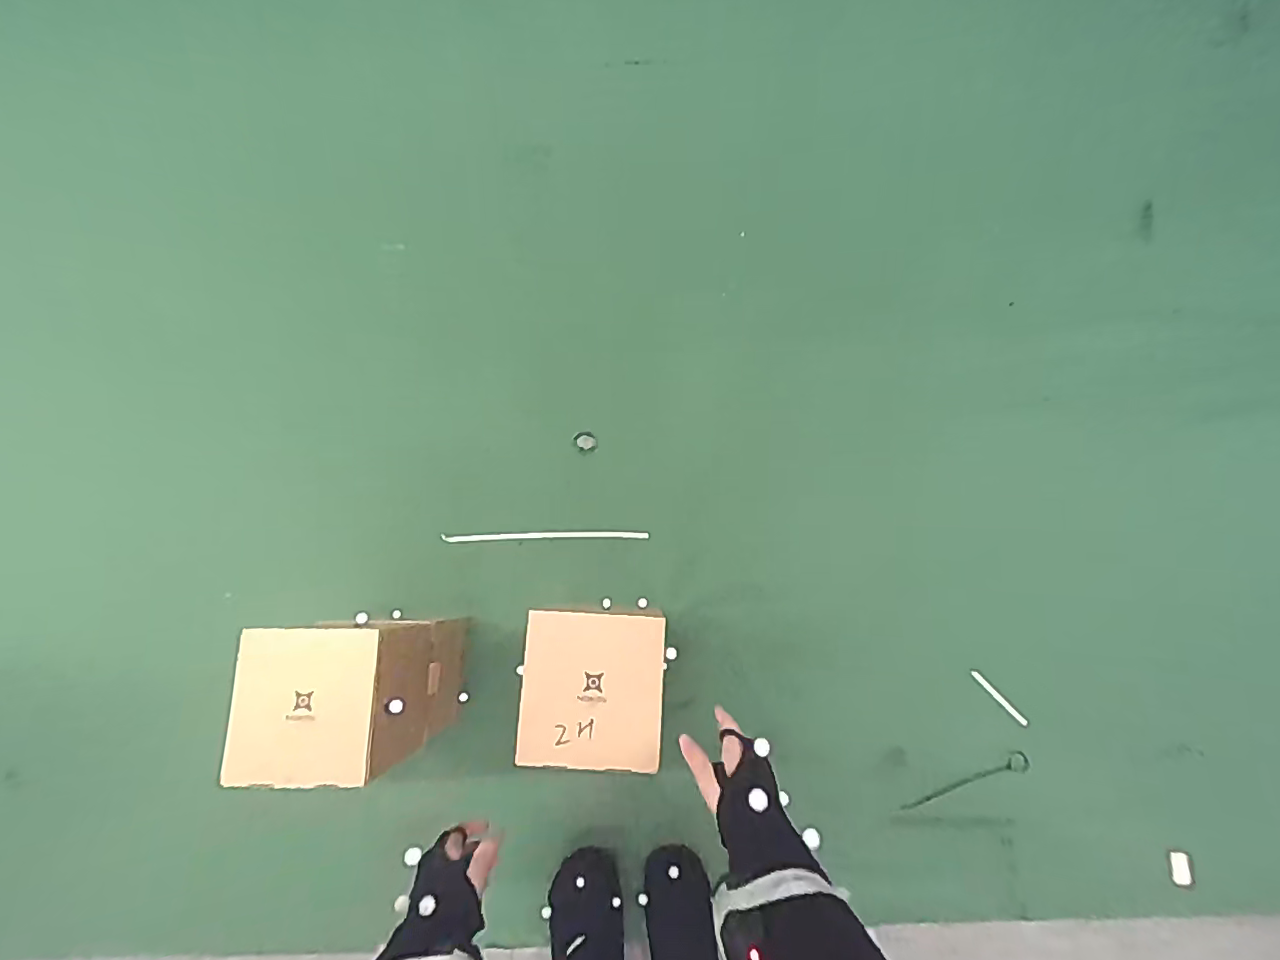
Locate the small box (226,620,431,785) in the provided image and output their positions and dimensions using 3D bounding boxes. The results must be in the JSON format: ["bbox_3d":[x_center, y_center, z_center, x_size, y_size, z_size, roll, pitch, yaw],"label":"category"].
[{"bbox_3d":[-0.387,0.277,0.708,0.168,0.176,0.179,0,79,0],"label":"small box"}]

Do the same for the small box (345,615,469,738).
[{"bbox_3d":[-0.388,0.306,0.869,0.179,0.176,0.168,0,78,1],"label":"small box"}]

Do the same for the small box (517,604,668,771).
[{"bbox_3d":[-0.055,0.256,0.709,0.168,0.176,0.179,3,79,1],"label":"small box"}]
